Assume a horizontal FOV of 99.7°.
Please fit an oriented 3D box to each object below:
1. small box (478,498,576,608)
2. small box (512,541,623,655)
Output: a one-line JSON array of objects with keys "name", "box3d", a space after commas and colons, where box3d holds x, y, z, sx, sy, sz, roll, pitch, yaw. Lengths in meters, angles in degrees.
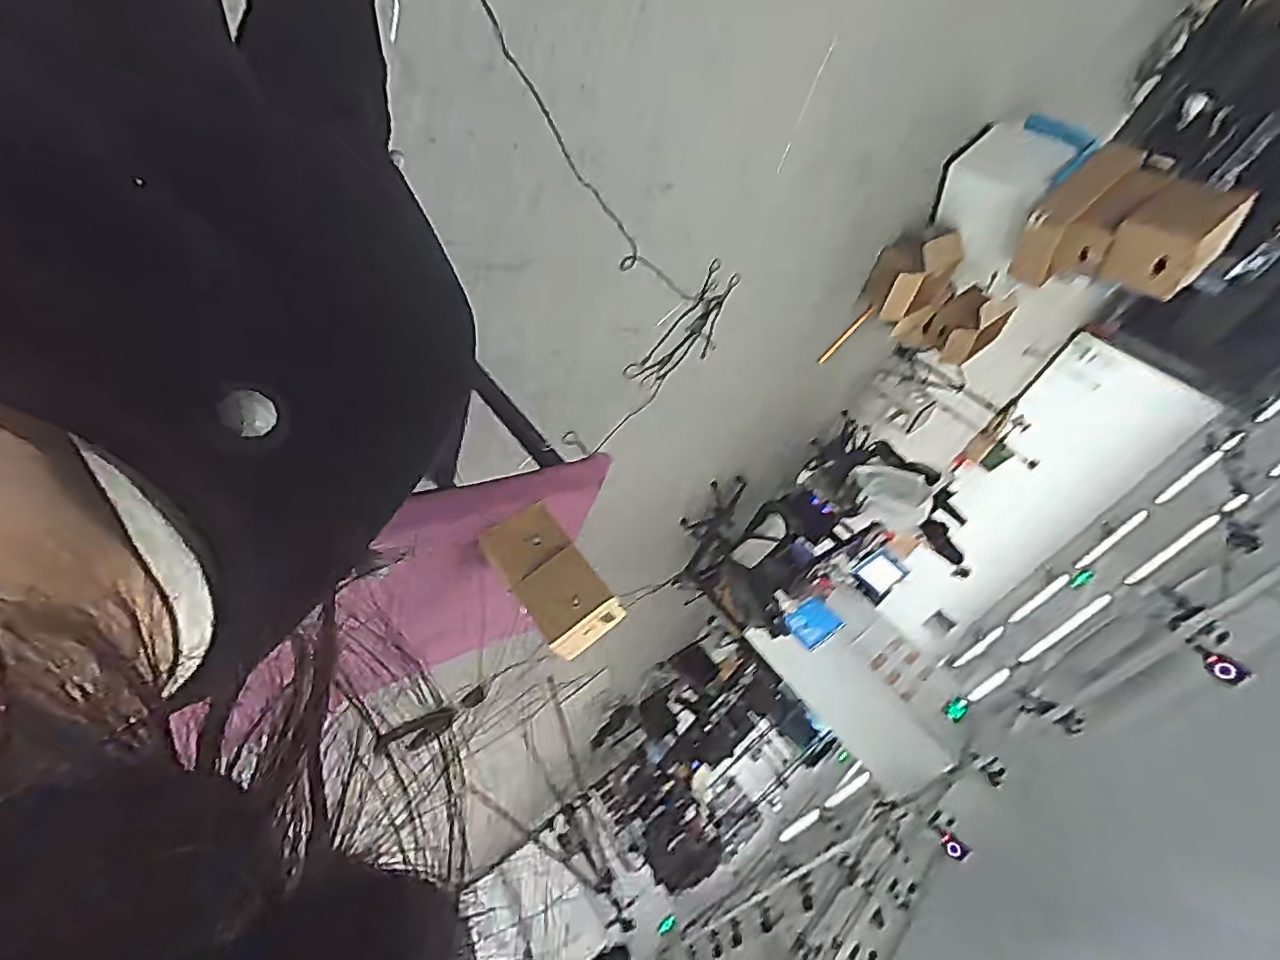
[{"name": "small box", "box3d": [-0.274, 0.176, 1.341, 0.179, 0.176, 0.168, -31, 151, -23]}, {"name": "small box", "box3d": [-0.166, 0.271, 1.258, 0.179, 0.176, 0.168, -36, 152, -12]}]
